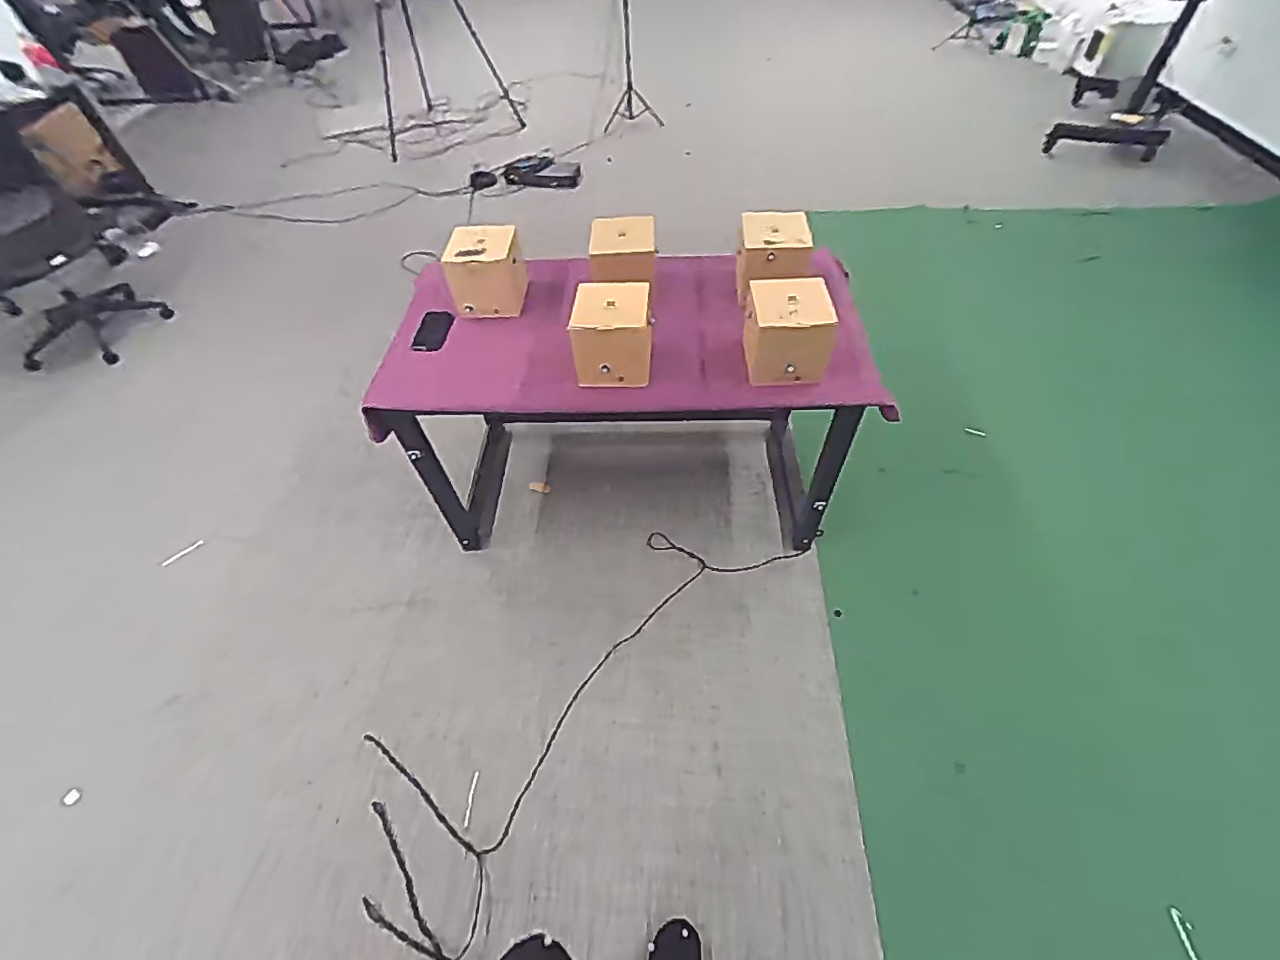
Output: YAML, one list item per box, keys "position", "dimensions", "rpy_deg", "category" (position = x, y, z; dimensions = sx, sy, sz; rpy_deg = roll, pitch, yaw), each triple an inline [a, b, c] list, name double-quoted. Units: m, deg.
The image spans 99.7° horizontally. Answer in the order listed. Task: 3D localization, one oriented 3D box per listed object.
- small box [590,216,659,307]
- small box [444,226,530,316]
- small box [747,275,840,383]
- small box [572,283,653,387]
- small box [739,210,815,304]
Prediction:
- position: [-0.036, -0.581, 1.450]
  dimensions: [0.168, 0.176, 0.179]
  rpy_deg: [-1, 53, 4]
  category: "small box"
- position: [-0.401, -0.556, 1.454]
  dimensions: [0.168, 0.176, 0.179]
  rpy_deg: [-1, 52, 3]
  category: "small box"
- position: [0.339, -0.341, 1.232]
  dimensions: [0.168, 0.176, 0.179]
  rpy_deg: [-2, 53, 4]
  category: "small box"
- position: [-0.057, -0.338, 1.263]
  dimensions: [0.168, 0.176, 0.179]
  rpy_deg: [1, 52, 5]
  category: "small box"
- position: [0.352, -0.585, 1.423]
  dimensions: [0.168, 0.176, 0.179]
  rpy_deg: [0, 52, 5]
  category: "small box"
